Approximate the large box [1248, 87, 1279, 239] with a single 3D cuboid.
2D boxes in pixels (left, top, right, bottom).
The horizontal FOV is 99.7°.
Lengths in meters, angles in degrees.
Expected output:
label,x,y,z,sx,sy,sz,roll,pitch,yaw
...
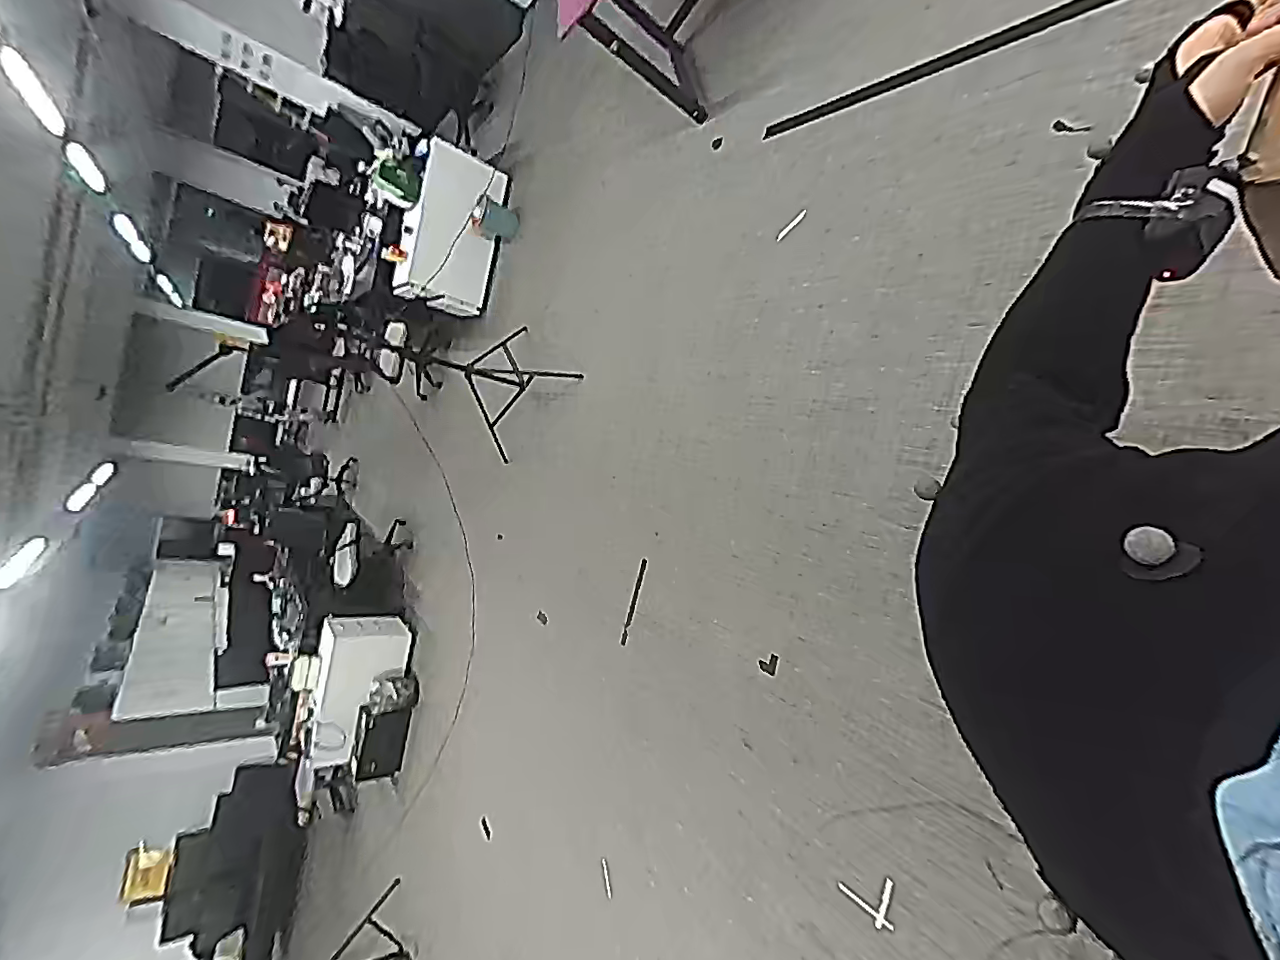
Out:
label,x,y,z,sx,sy,sz,roll,pitch,yaw
large box,0.713,-0.316,0.306,0.408,0.320,0.320,25,108,53
